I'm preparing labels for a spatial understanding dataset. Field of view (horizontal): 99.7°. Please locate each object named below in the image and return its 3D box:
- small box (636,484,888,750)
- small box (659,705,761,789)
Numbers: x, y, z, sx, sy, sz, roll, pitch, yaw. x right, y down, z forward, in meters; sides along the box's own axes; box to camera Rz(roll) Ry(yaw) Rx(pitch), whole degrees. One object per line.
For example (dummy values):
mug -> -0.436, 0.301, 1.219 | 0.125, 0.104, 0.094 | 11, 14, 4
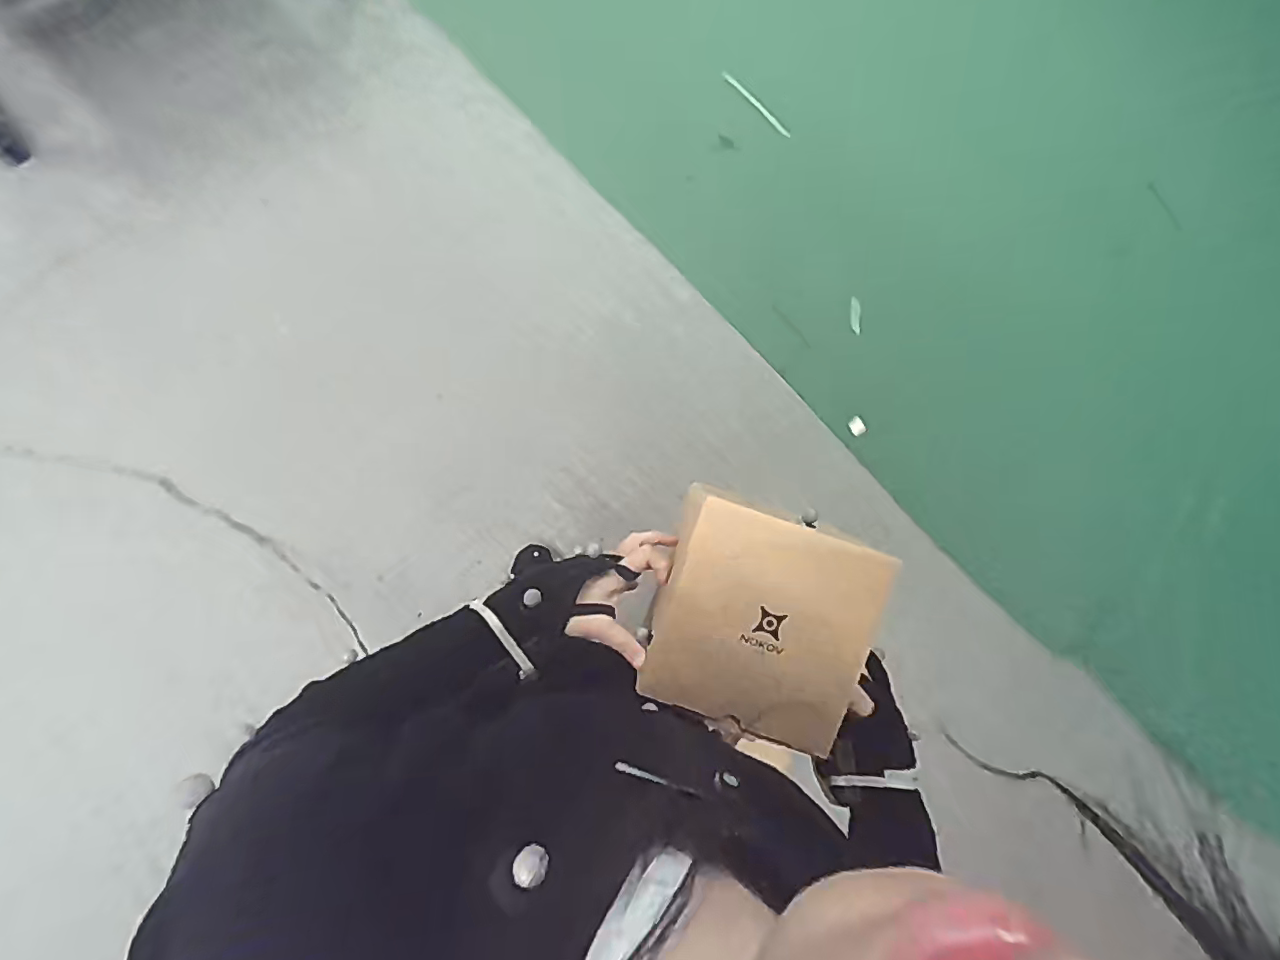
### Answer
small box -> 0.099, 0.111, 0.518 | 0.168, 0.176, 0.179 | 17, 96, 0
small box -> 0.170, 0.635, 1.379 | 0.168, 0.176, 0.179 | -41, 86, -13
